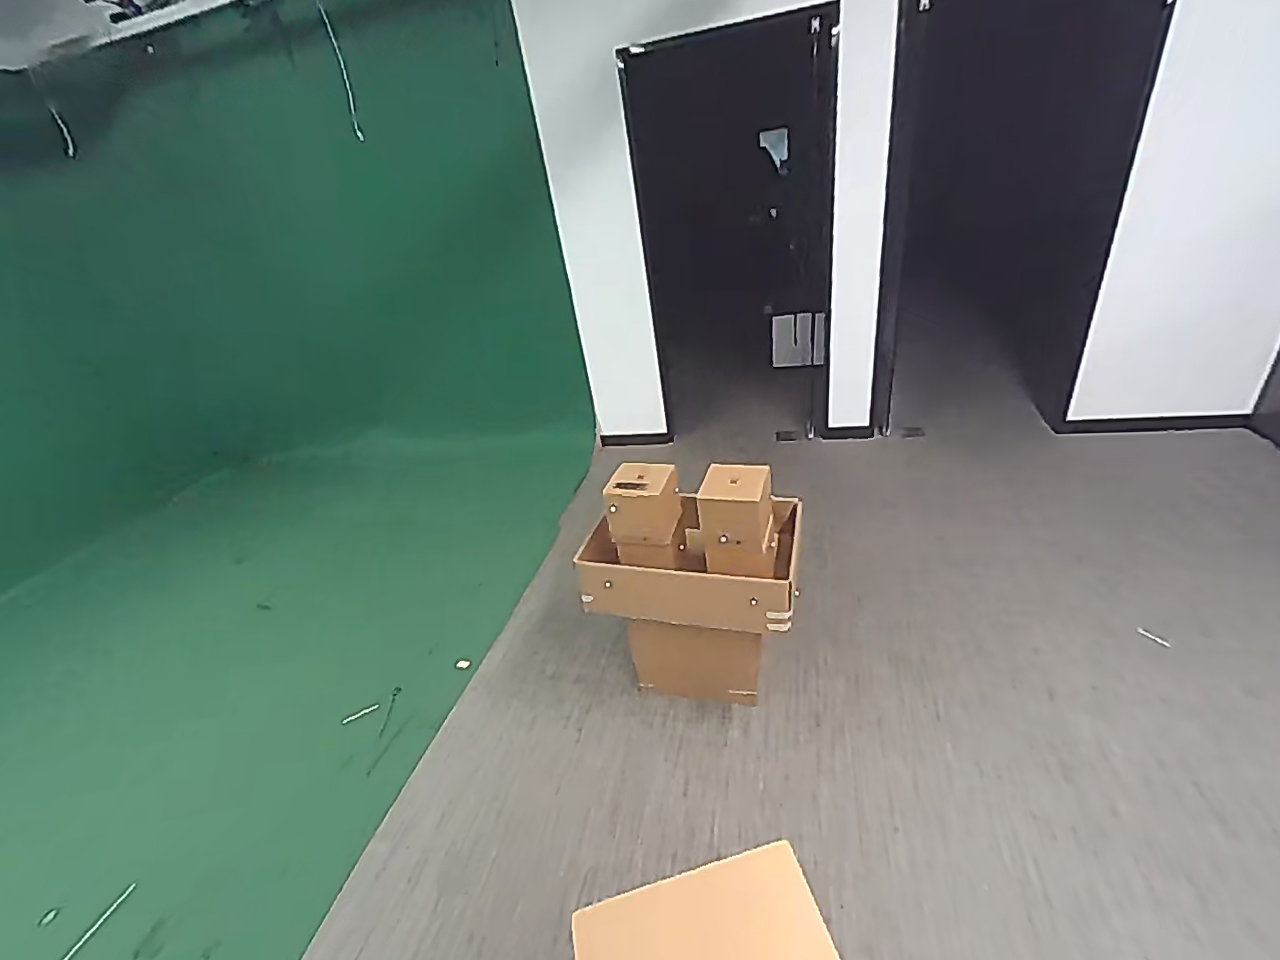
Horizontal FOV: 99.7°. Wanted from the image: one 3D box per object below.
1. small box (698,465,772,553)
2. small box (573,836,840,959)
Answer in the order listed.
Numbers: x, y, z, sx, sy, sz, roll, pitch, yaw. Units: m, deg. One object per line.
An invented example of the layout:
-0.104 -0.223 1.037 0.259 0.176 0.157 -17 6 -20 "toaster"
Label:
0.267 0.075 1.479 0.168 0.176 0.179 2 33 23 "small box"
0.060 0.404 0.391 0.179 0.176 0.168 -14 33 -6 "small box"
